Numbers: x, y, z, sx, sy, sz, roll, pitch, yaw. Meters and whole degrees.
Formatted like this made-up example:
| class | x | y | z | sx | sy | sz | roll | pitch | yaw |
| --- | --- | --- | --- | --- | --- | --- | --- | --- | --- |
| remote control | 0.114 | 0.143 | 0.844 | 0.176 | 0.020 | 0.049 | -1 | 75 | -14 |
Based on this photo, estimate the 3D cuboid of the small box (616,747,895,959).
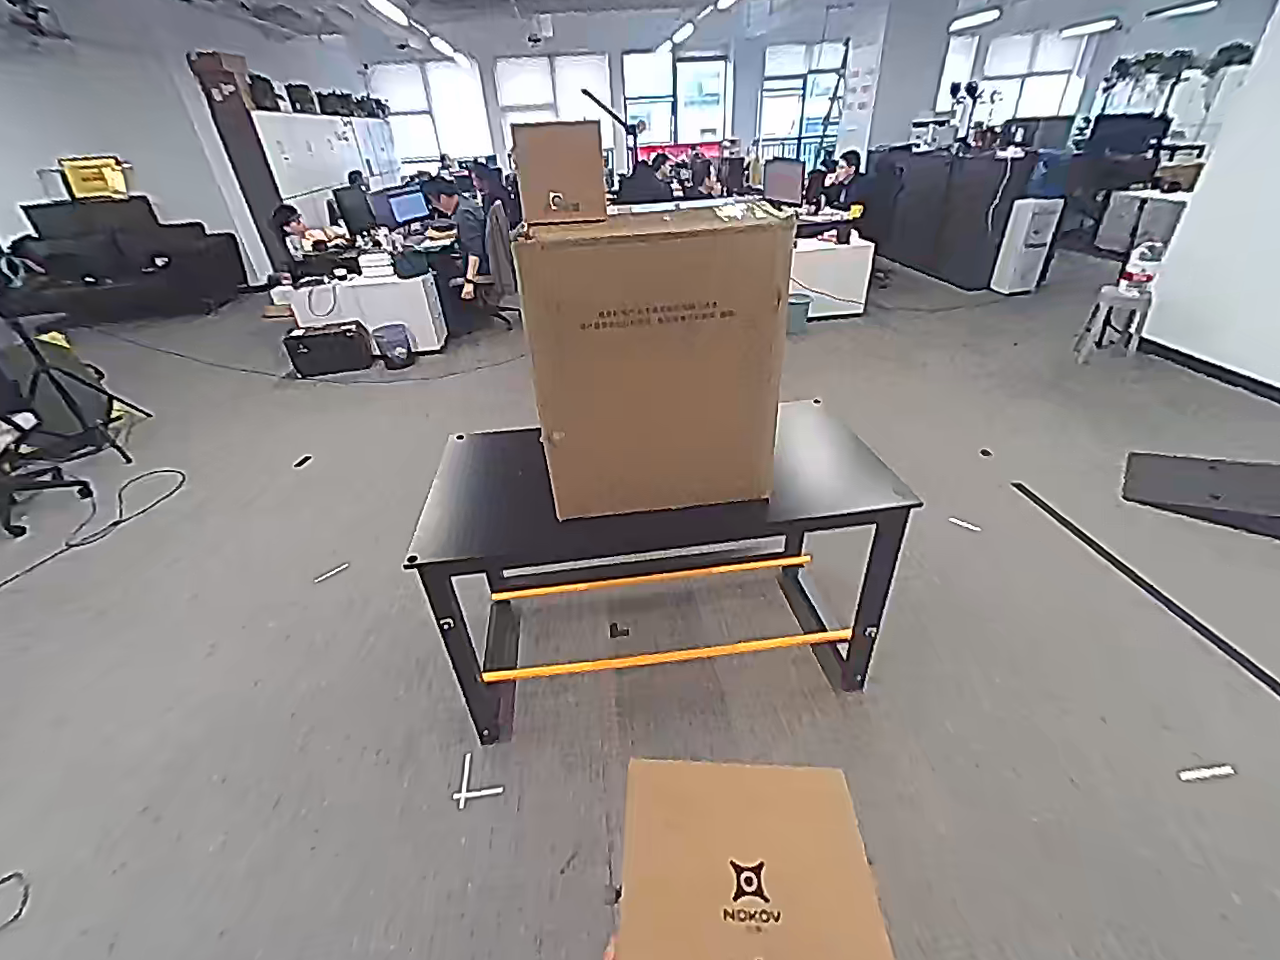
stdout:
| class | x | y | z | sx | sy | sz | roll | pitch | yaw |
| --- | --- | --- | --- | --- | --- | --- | --- | --- | --- |
| small box | 0.069 | 0.327 | 0.392 | 0.168 | 0.176 | 0.179 | 2 | 34 | 3 |

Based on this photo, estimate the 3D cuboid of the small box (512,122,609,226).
| class | x | y | z | sx | sy | sz | roll | pitch | yaw |
| --- | --- | --- | --- | --- | --- | --- | --- | --- | --- |
| small box | -0.153 | -0.610 | 1.081 | 0.168 | 0.176 | 0.179 | -6 | 33 | -3 |
